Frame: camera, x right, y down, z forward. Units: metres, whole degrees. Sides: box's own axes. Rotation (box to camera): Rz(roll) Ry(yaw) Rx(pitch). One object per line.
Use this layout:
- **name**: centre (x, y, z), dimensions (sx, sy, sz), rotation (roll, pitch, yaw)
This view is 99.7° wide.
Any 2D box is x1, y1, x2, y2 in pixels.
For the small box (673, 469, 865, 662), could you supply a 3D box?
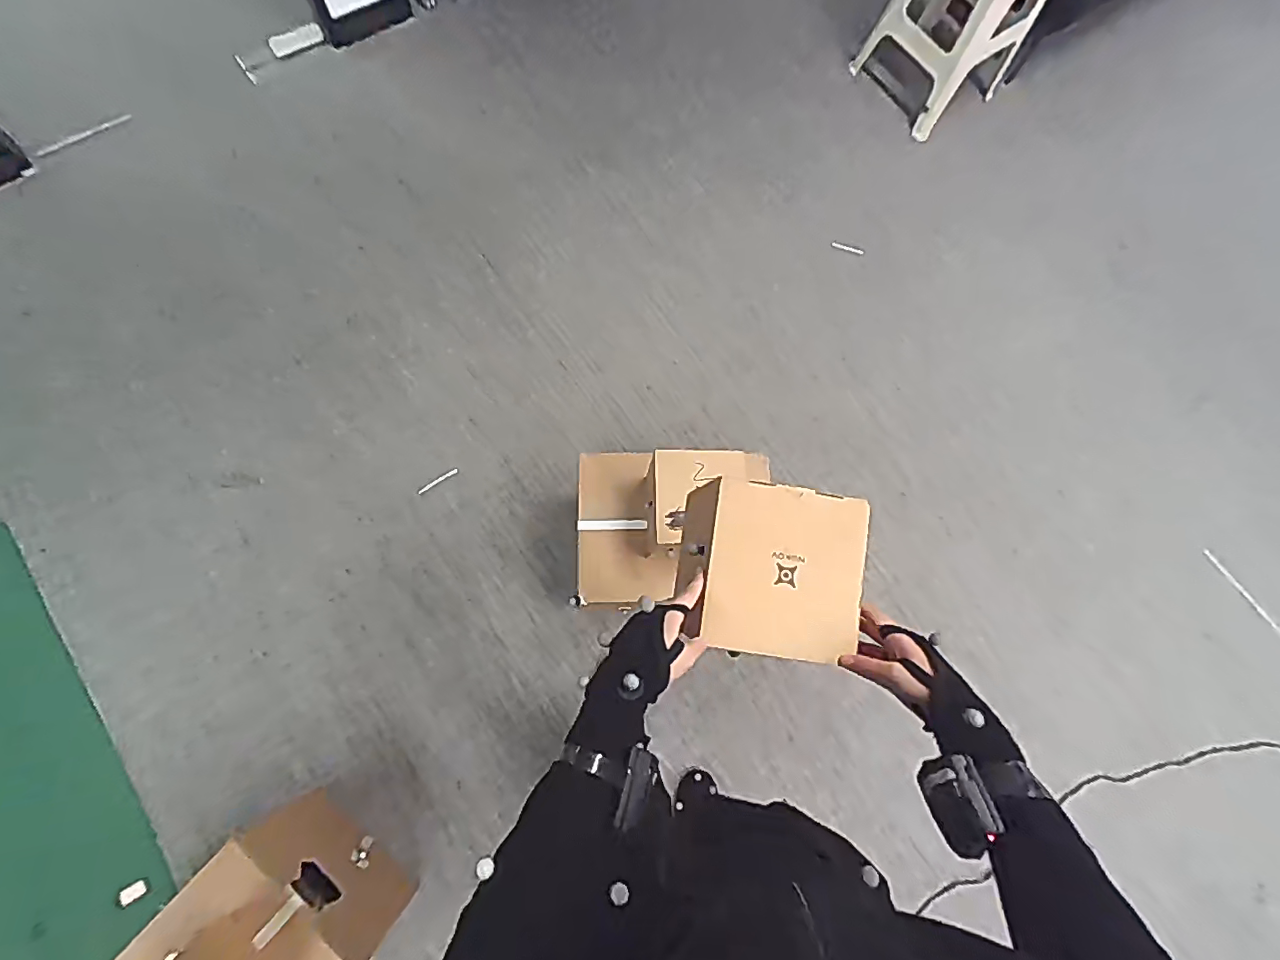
- **small box**: centre (0.138, 0.099, 0.631), dimensions (0.168, 0.176, 0.179), rotation (10, 79, -5)

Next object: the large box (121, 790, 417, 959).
- **large box**: centre (-0.699, 0.877, 0.984), dimensions (0.320, 0.320, 0.408), rotation (40, 76, 8)

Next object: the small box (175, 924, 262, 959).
- **small box**: centre (-0.643, 0.789, 0.759), dimensions (0.179, 0.176, 0.168), rotation (41, 75, 7)
